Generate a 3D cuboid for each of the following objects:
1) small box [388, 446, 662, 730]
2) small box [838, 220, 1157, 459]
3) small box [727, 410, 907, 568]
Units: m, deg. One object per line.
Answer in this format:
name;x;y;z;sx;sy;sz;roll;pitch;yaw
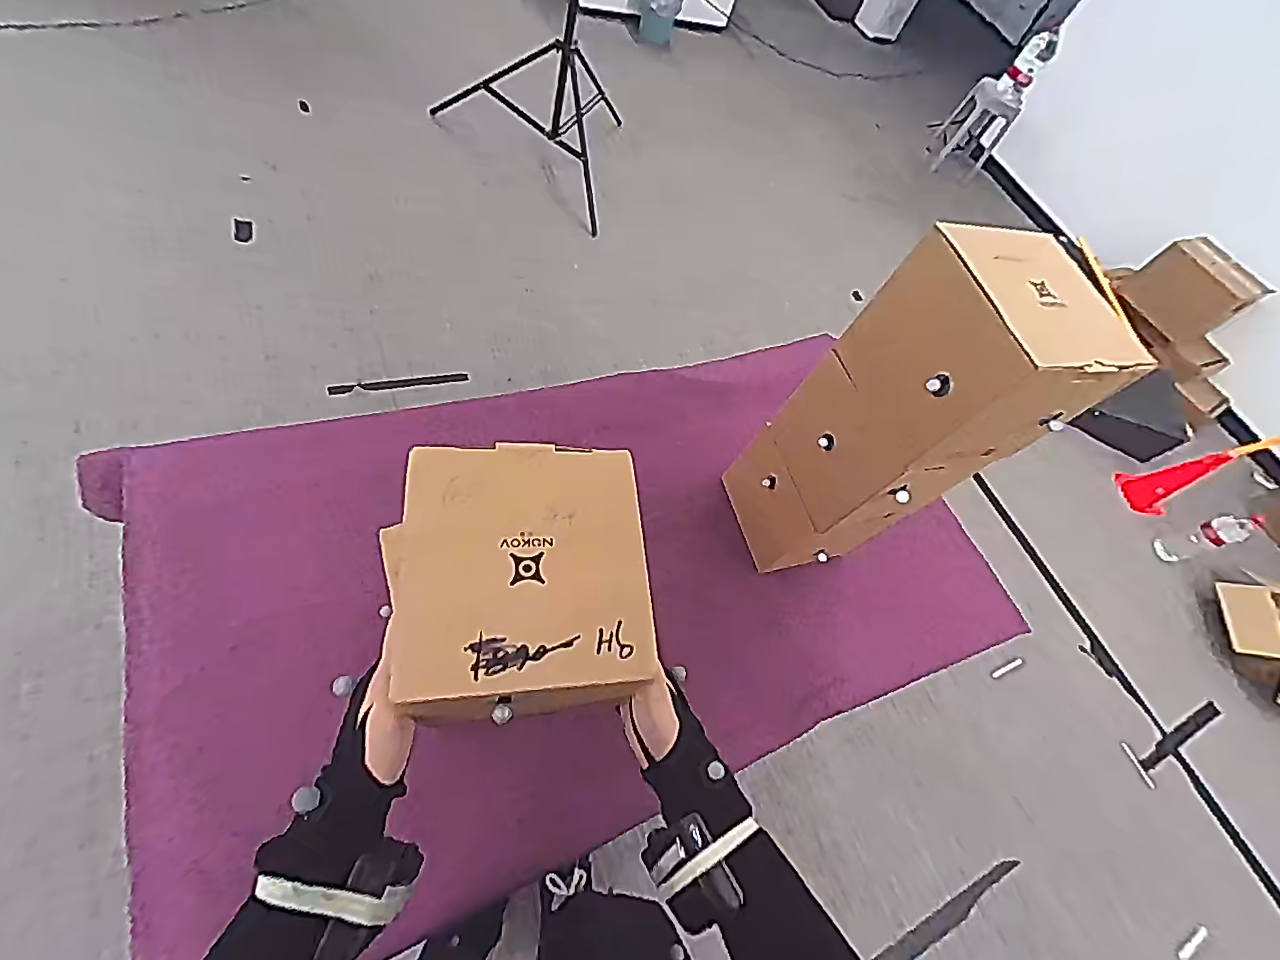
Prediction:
small box;-0.090;0.090;0.432;0.168;0.176;0.179;-1;62;-13
small box;0.342;-0.132;0.553;0.168;0.176;0.179;-6;63;-21
small box;0.257;0.016;0.832;0.168;0.176;0.179;-9;65;-21
